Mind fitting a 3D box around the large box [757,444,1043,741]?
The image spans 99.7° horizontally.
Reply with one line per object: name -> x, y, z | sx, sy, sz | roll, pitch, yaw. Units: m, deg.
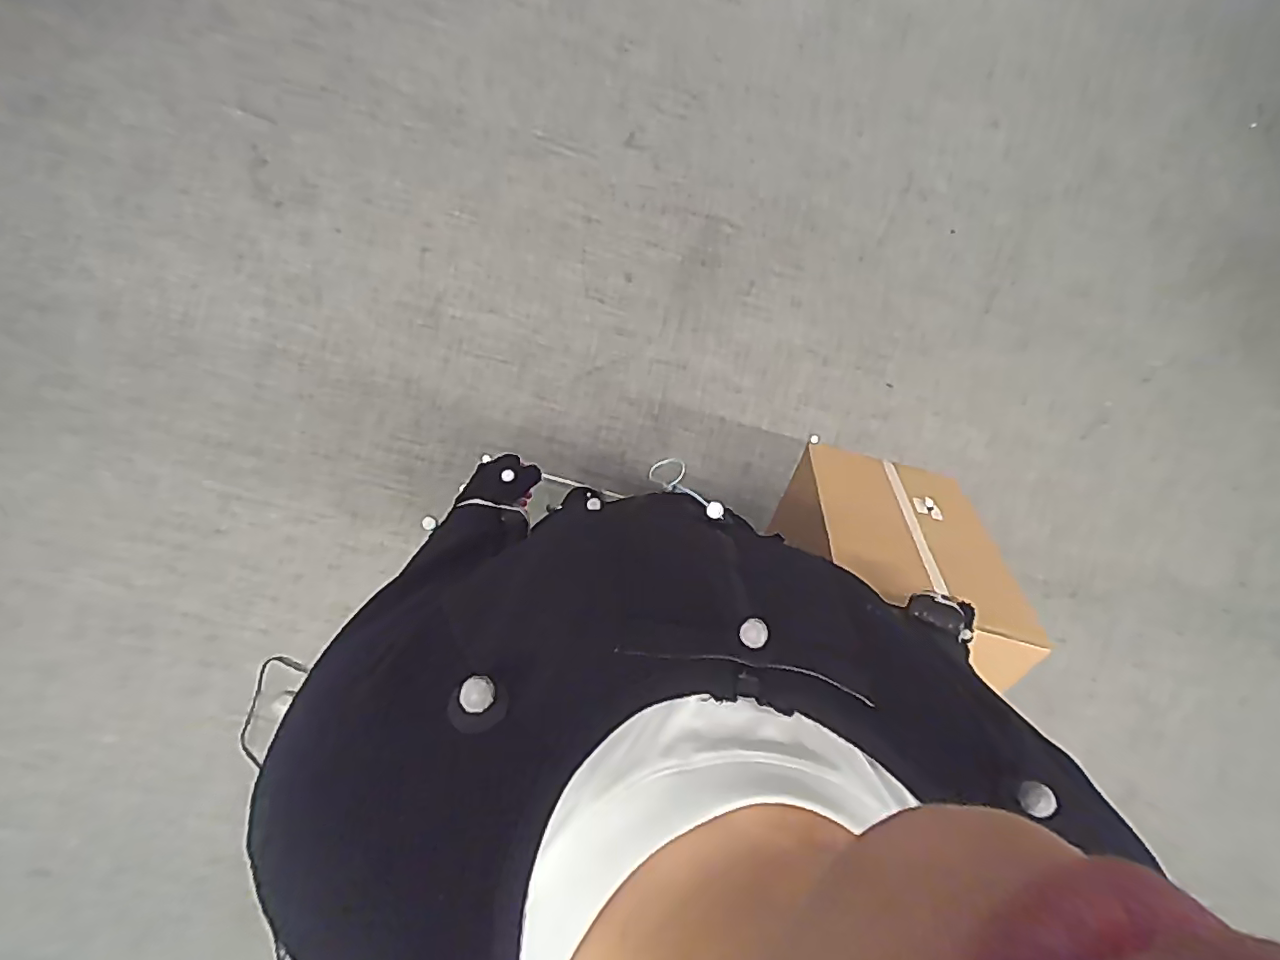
large box -> 0.419, 0.195, 1.005 | 0.320, 0.408, 0.320 | 16, 126, -1
